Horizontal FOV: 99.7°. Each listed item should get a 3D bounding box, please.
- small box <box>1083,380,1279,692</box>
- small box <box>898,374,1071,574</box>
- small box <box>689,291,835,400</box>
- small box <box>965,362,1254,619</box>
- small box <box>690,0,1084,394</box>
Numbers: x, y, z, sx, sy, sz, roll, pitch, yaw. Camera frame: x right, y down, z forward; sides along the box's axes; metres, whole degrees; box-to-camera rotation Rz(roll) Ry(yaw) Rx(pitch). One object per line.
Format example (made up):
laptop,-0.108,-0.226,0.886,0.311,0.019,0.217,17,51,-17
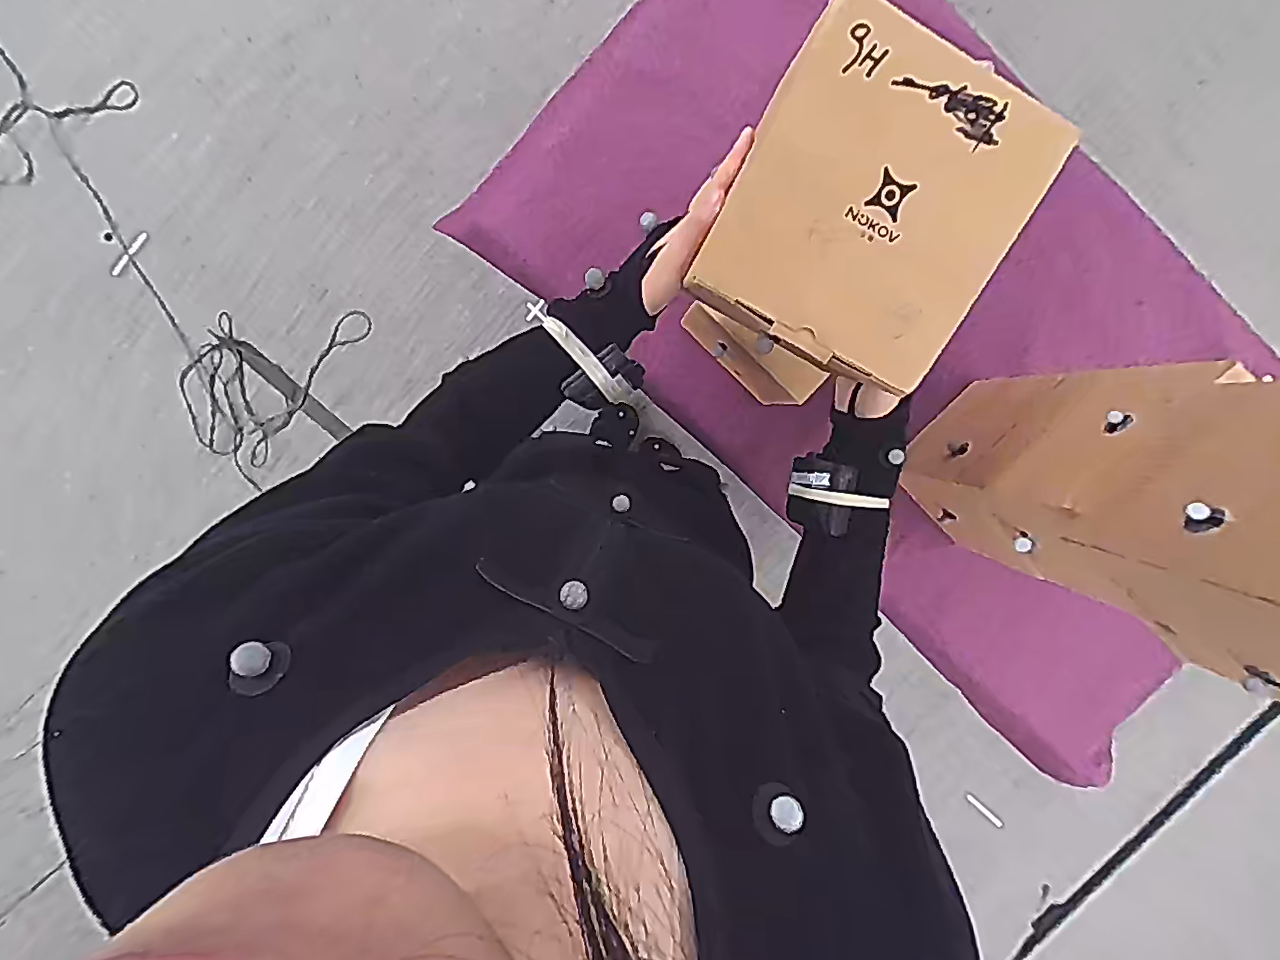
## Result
small box,0.468,0.046,0.376,0.168,0.176,0.179,41,94,-7
small box,0.468,-0.013,0.697,0.179,0.176,0.168,-45,97,4
small box,0.175,-0.213,0.664,0.168,0.176,0.179,43,93,-6
small box,0.477,0.007,0.534,0.168,0.176,0.179,45,95,-6
small box,0.146,-0.189,0.398,0.168,0.176,0.179,25,107,-9
